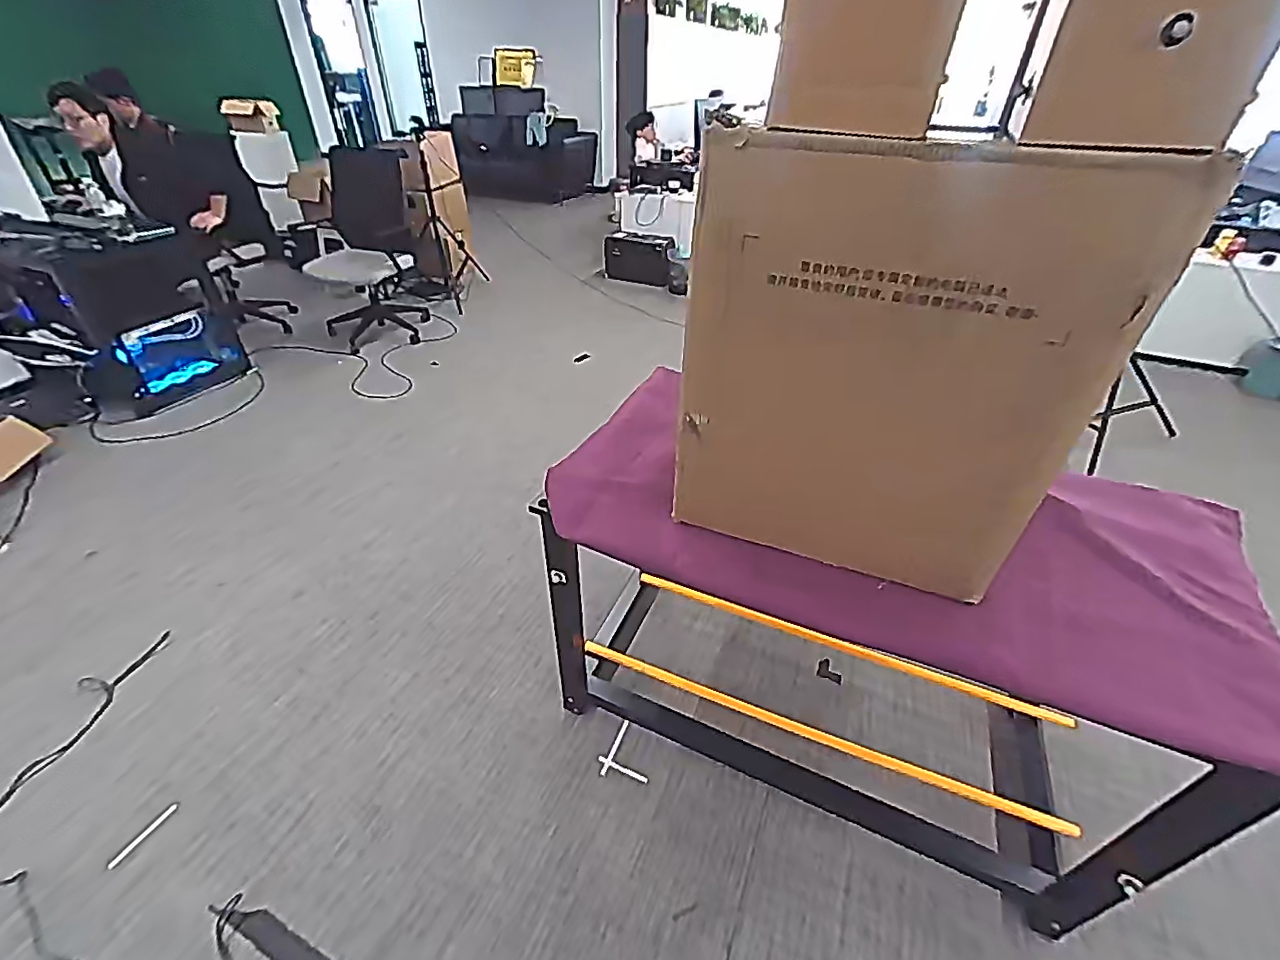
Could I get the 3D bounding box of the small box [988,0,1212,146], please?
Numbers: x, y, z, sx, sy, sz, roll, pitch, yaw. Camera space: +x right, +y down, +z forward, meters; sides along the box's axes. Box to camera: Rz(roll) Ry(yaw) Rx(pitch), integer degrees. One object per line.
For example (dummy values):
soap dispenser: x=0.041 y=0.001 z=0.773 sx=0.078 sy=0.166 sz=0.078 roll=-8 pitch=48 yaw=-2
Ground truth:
small box: x=0.570 y=-0.539 z=0.693 sx=0.168 sy=0.176 sz=0.179 roll=15 pitch=40 yaw=19
